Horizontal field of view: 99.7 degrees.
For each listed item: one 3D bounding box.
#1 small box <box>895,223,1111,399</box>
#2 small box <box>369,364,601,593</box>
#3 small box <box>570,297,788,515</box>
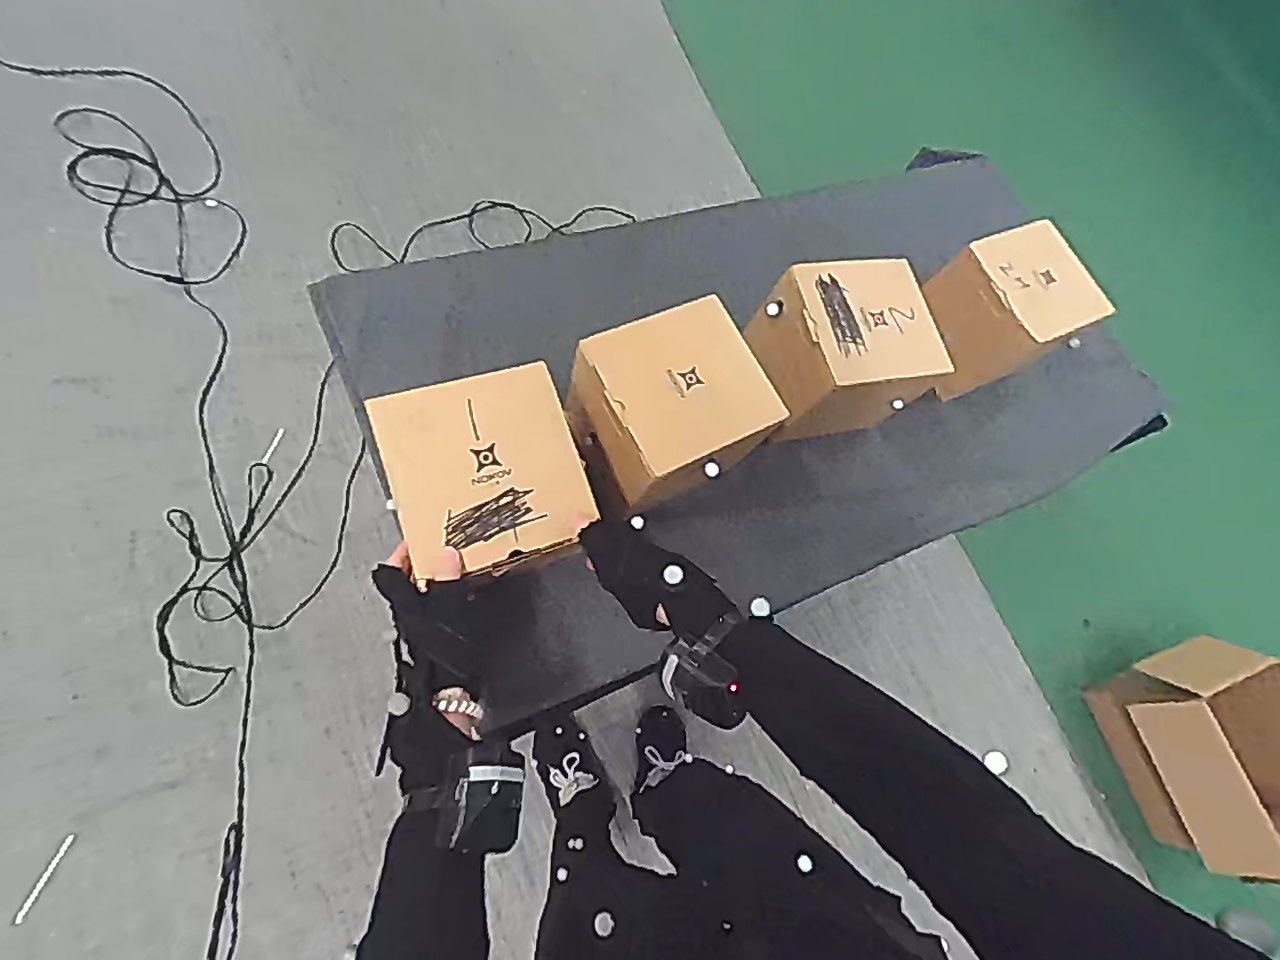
[{"bbox_3d":[0.530,-0.247,0.812,0.179,0.176,0.168,-22,77,-19],"label":"small box"},{"bbox_3d":[-0.154,0.009,0.556,0.168,0.176,0.179,-17,80,-18],"label":"small box"},{"bbox_3d":[0.033,-0.079,0.641,0.179,0.176,0.168,-25,79,-19],"label":"small box"}]
